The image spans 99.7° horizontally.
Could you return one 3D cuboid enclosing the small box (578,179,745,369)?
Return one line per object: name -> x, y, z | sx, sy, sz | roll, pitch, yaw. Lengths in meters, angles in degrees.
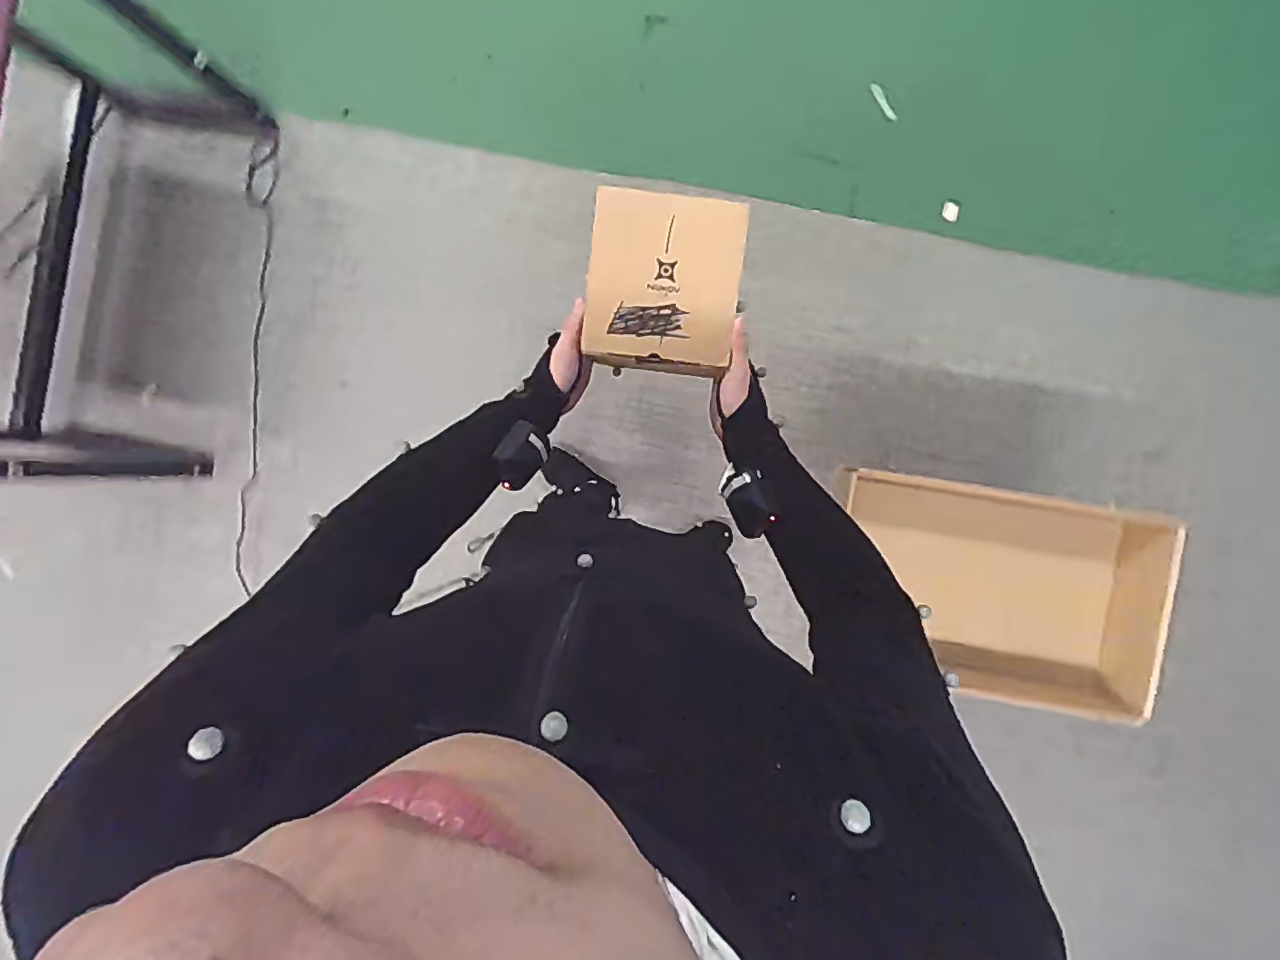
small box -> 0.023, -0.231, 0.652 | 0.168, 0.176, 0.179 | 5, 97, 0
